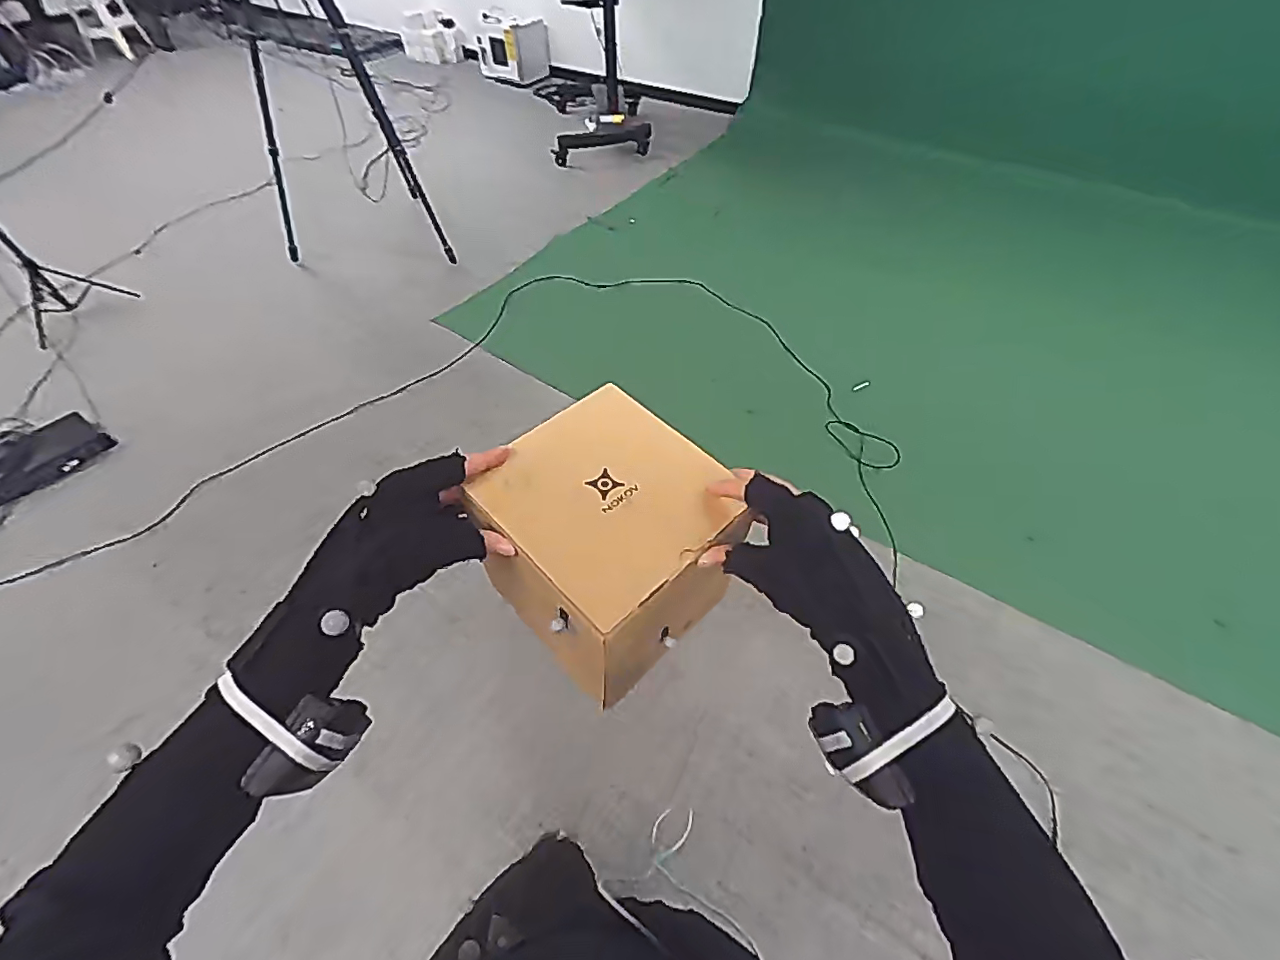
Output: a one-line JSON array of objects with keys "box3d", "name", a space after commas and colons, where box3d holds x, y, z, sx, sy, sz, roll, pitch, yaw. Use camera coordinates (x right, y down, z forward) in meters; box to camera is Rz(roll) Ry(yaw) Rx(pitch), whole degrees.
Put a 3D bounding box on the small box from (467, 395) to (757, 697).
[{"box3d": [-0.028, 0.062, 0.491, 0.168, 0.176, 0.179, -36, 63, -27], "name": "small box"}]
